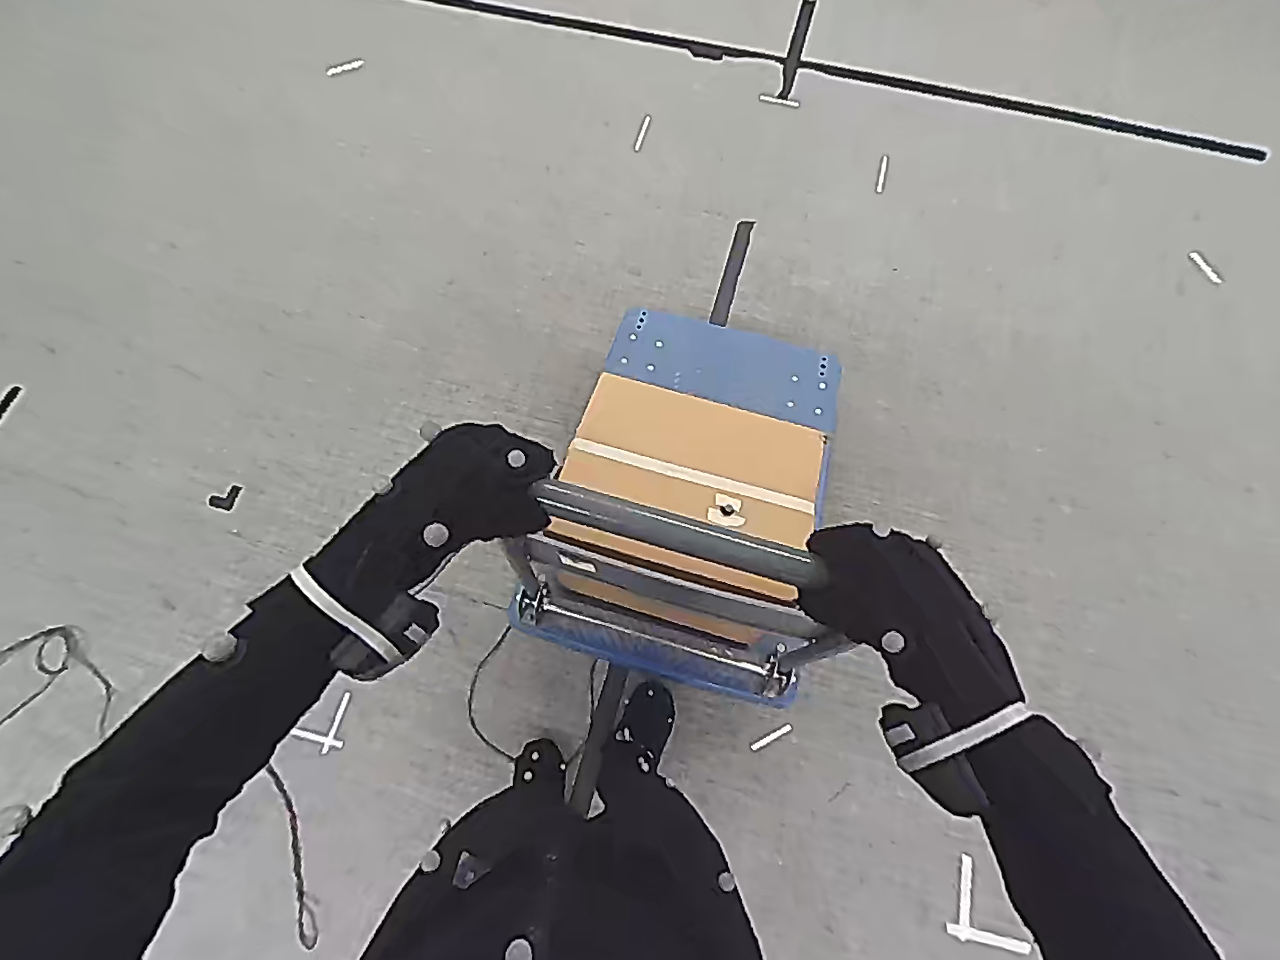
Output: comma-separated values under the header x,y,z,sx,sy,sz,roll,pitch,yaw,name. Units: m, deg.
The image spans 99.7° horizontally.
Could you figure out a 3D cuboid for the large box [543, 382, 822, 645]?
x,y,z,sx,sy,sz,roll,pitch,yaw,name
0.069,0.075,0.996,0.408,0.320,0.320,16,63,4,large box
